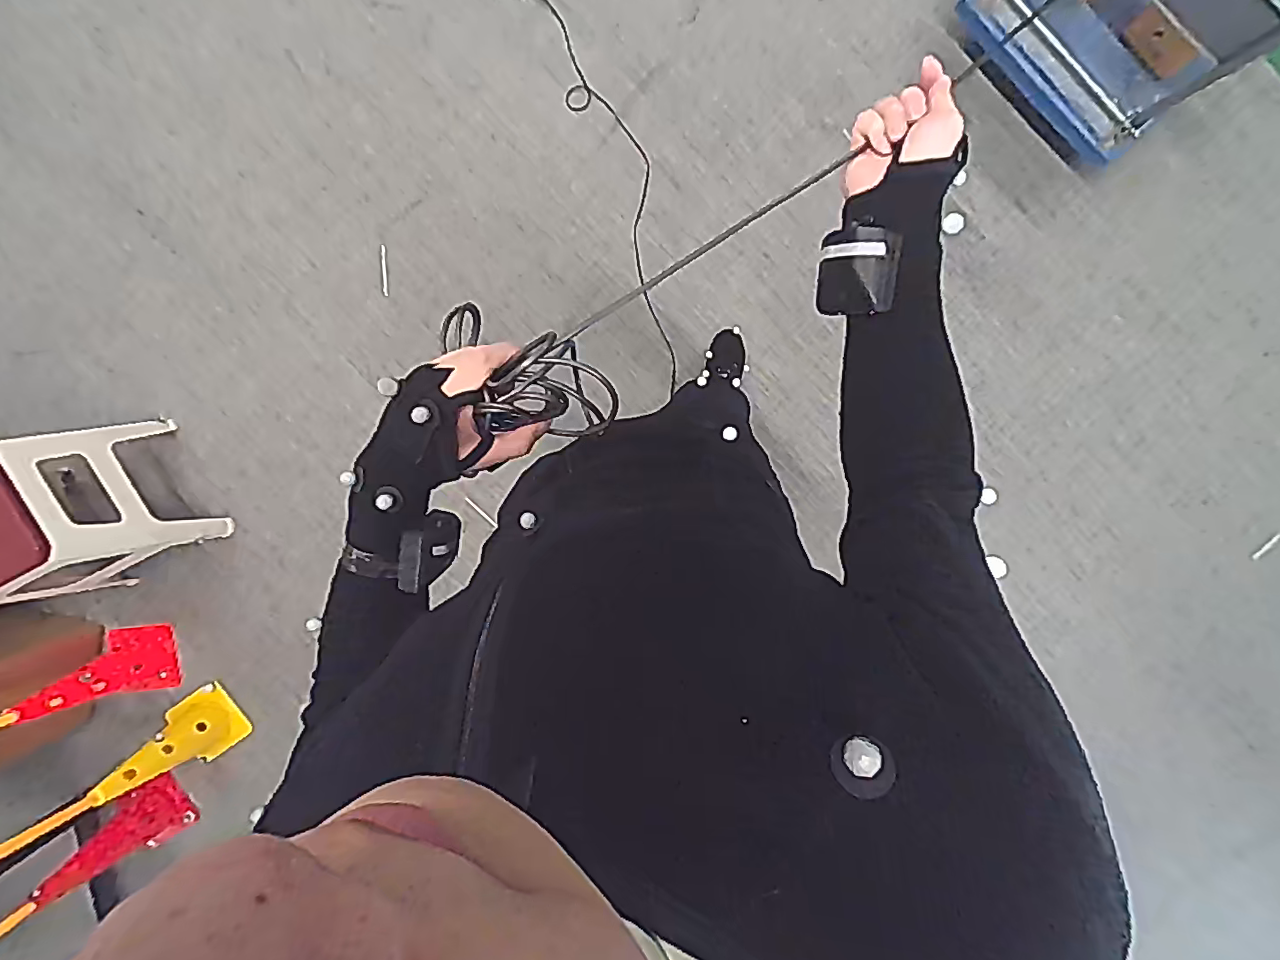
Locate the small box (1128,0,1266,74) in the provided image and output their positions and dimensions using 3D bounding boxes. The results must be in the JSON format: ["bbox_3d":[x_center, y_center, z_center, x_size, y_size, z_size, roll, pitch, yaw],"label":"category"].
[{"bbox_3d":[1.317,-1.118,1.261,0.179,0.176,0.168,-45,94,4],"label":"small box"}]
